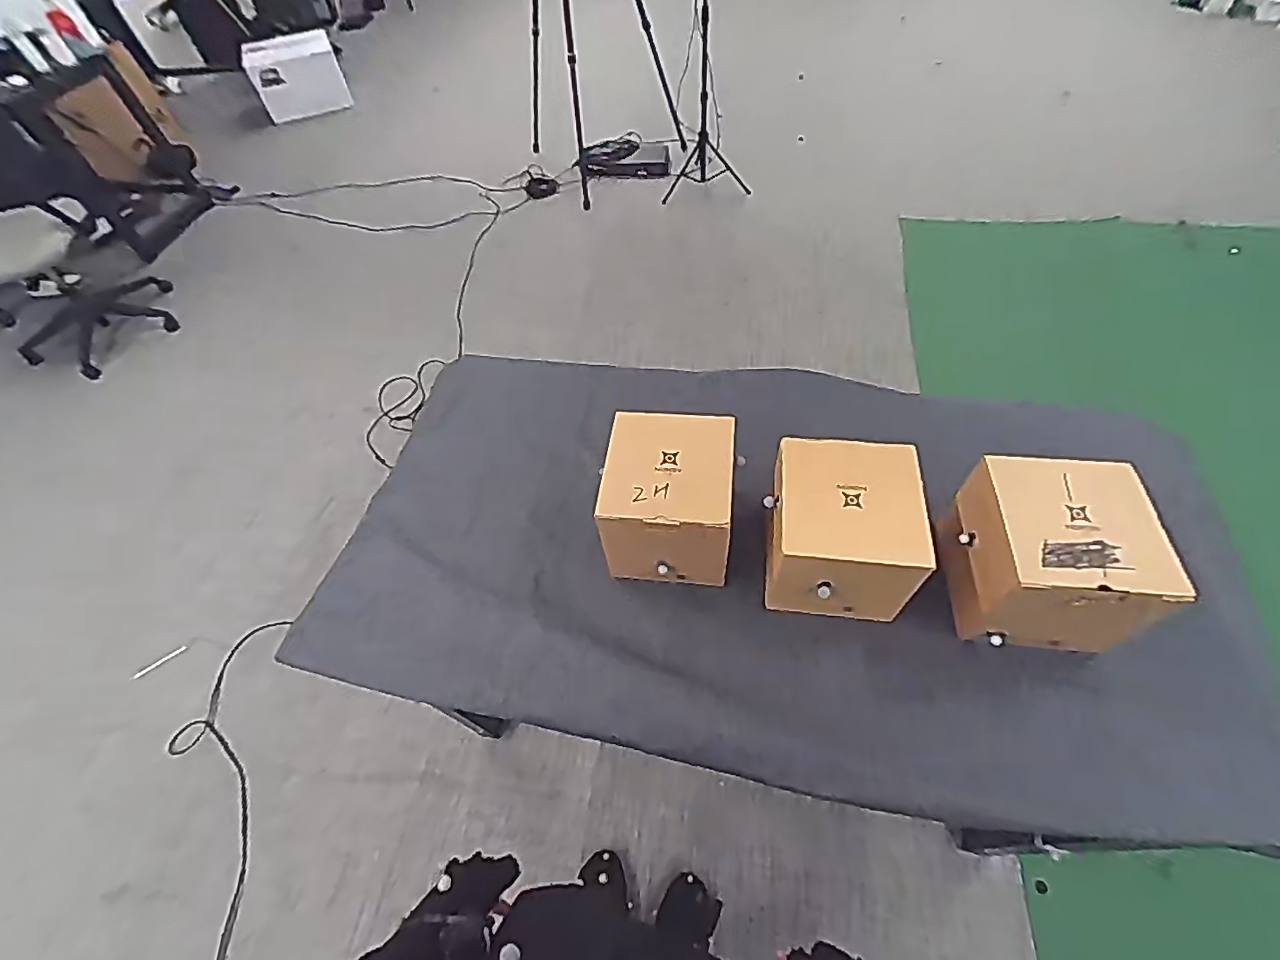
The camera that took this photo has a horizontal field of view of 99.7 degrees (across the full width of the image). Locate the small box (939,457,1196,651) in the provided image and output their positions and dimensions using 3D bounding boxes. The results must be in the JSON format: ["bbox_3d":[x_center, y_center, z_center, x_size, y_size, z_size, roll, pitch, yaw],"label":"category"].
[{"bbox_3d":[0.492,0.094,0.660,0.168,0.176,0.179,4,54,8],"label":"small box"}]

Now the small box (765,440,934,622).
[{"bbox_3d":[0.257,0.070,0.704,0.168,0.176,0.179,4,54,9],"label":"small box"}]

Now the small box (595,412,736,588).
[{"bbox_3d":[0.042,0.029,0.752,0.168,0.176,0.179,4,55,8],"label":"small box"}]
